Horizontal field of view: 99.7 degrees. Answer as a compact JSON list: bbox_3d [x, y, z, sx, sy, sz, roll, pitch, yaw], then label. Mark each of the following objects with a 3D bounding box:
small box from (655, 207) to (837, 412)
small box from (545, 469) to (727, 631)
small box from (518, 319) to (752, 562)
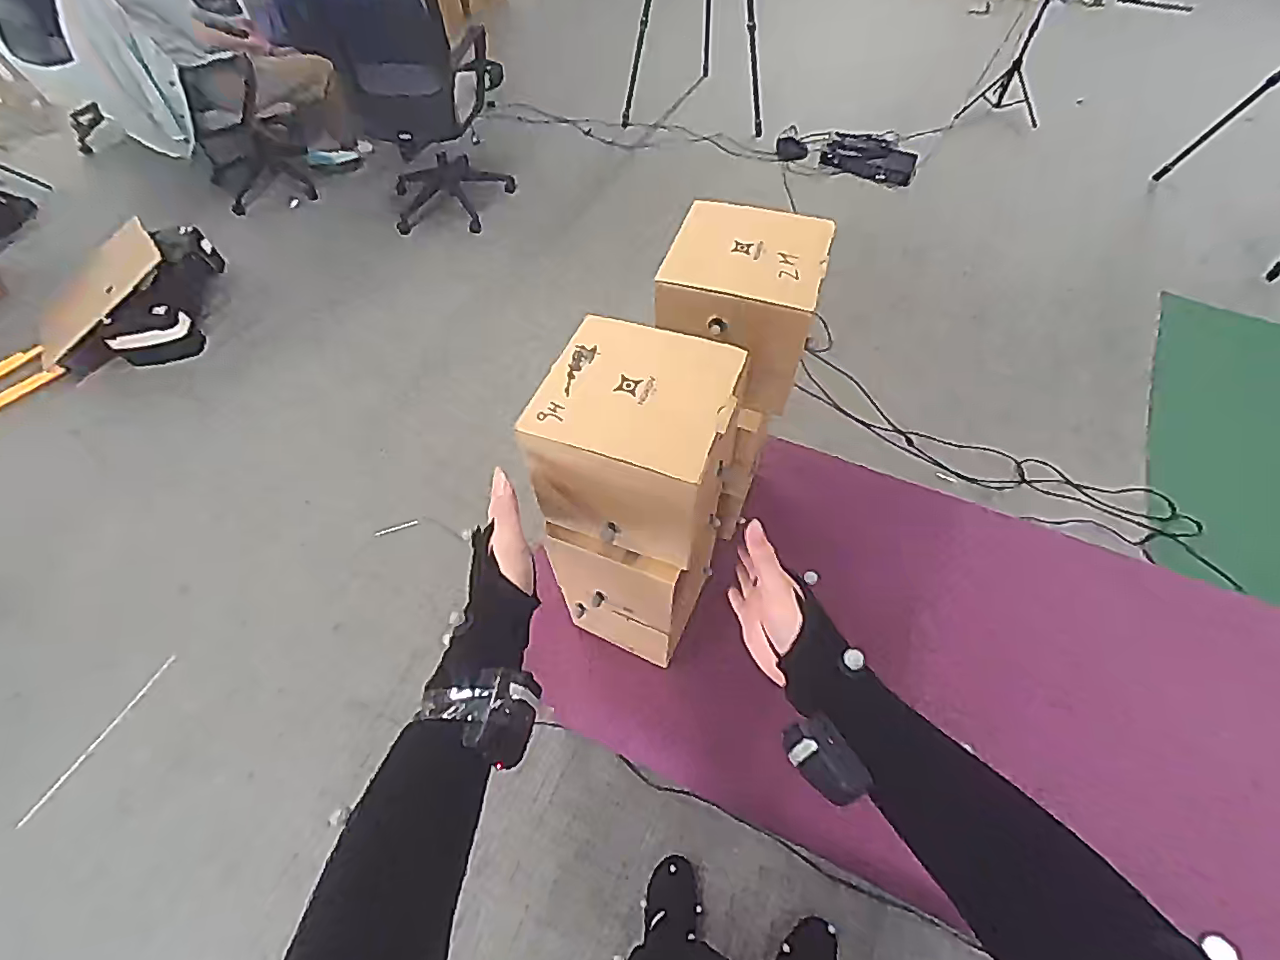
[{"bbox_3d":[0.126,-0.209,0.679,0.179,0.176,0.168,16,59,12],"label":"small box"},{"bbox_3d":[0.000,0.066,0.699,0.168,0.176,0.179,19,59,14],"label":"small box"},{"bbox_3d":[0.001,-0.035,0.569,0.179,0.176,0.168,18,57,13],"label":"small box"}]
